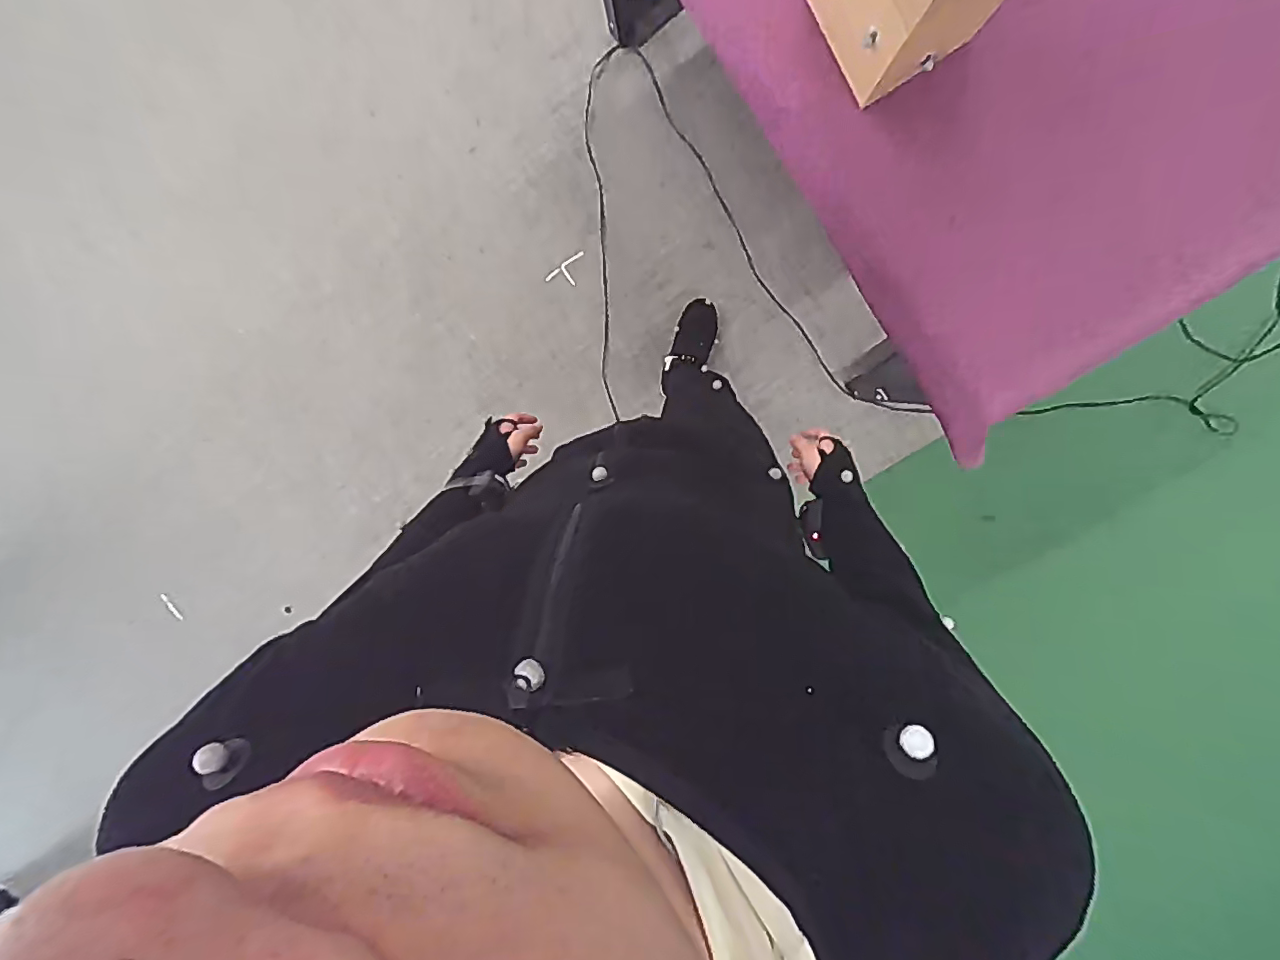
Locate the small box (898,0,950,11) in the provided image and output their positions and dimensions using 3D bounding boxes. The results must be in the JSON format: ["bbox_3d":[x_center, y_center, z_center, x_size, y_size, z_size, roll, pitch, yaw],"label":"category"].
[{"bbox_3d":[0.320,-0.593,0.497,0.168,0.176,0.179,-30,97,9],"label":"small box"}]
